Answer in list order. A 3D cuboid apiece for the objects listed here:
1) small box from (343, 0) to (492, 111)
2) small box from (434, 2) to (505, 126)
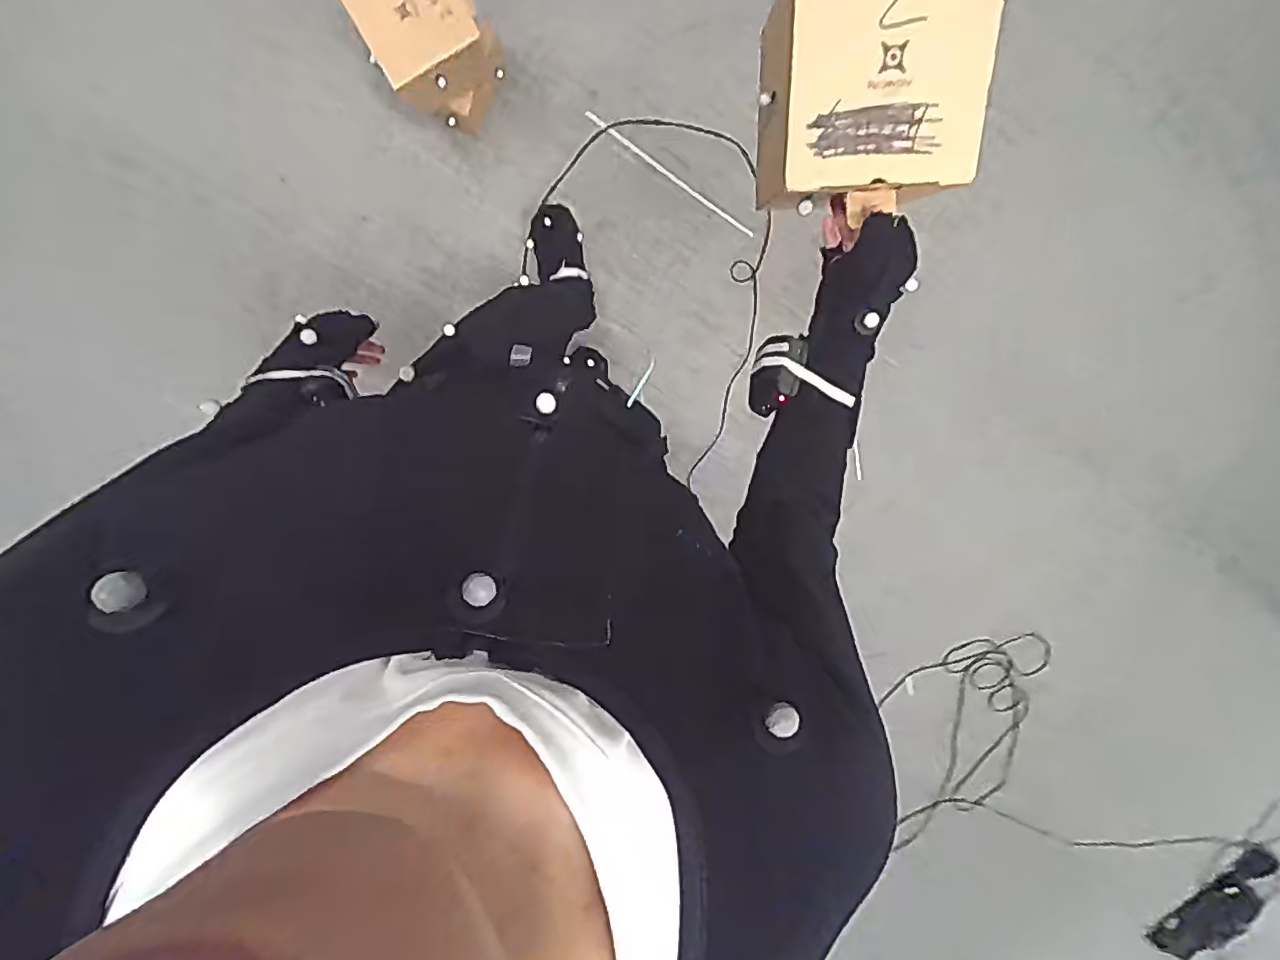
[{"bbox_3d":[-0.384,-0.793,0.950,0.179,0.176,0.168,-29,110,3],"label":"small box"},{"bbox_3d":[-0.387,-0.850,1.087,0.179,0.176,0.168,25,104,-14],"label":"small box"}]
